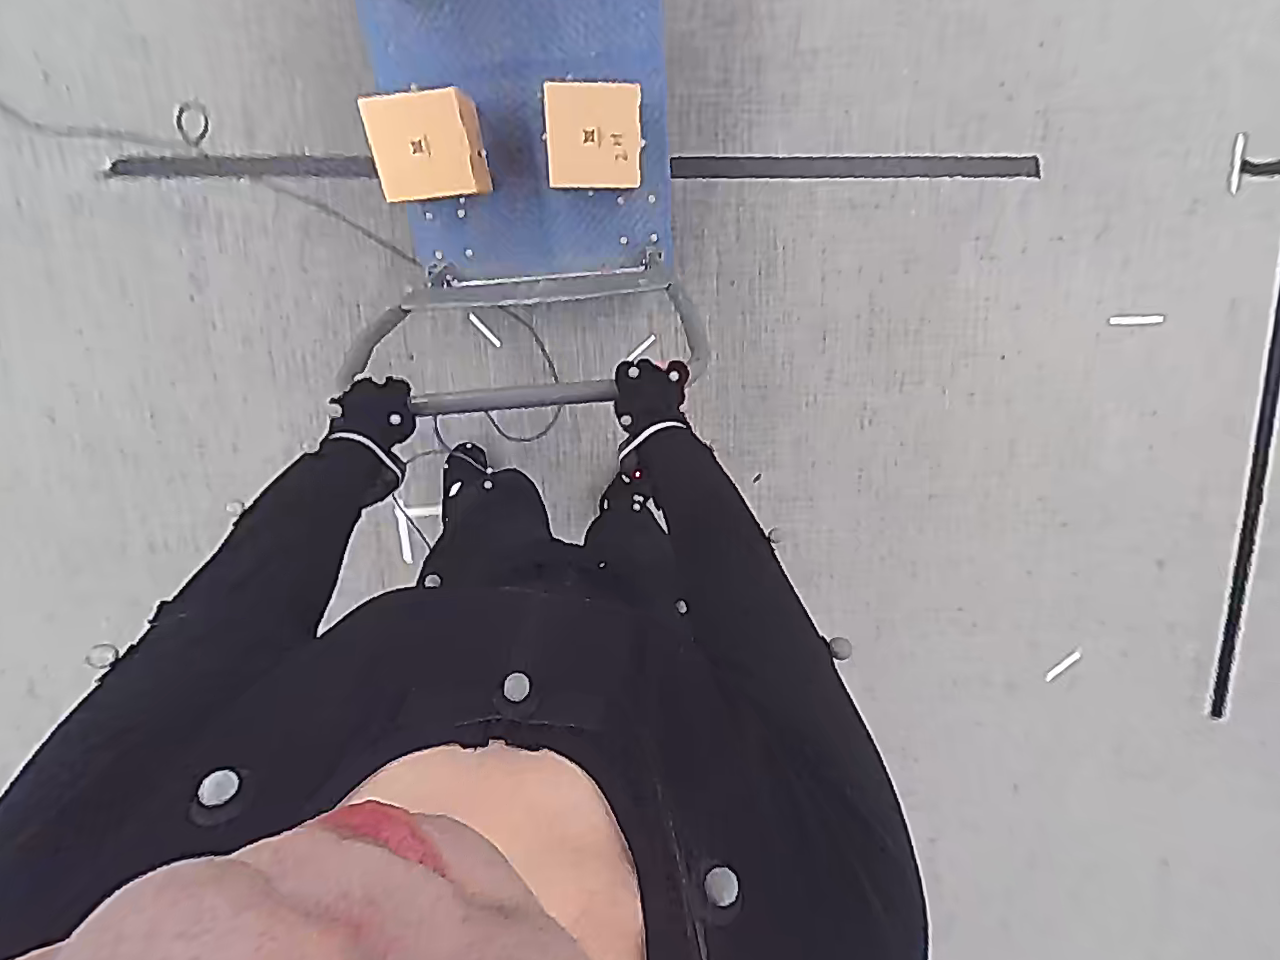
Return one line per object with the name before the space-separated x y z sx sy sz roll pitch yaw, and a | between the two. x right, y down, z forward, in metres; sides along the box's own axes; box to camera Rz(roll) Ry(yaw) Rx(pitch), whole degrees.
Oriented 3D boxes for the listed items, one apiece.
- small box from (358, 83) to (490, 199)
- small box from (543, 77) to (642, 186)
small box | -0.405 -0.646 1.048 0.179 0.176 0.168 -9 118 -2
small box | -0.089 -0.673 1.060 0.179 0.176 0.168 -2 118 -4
